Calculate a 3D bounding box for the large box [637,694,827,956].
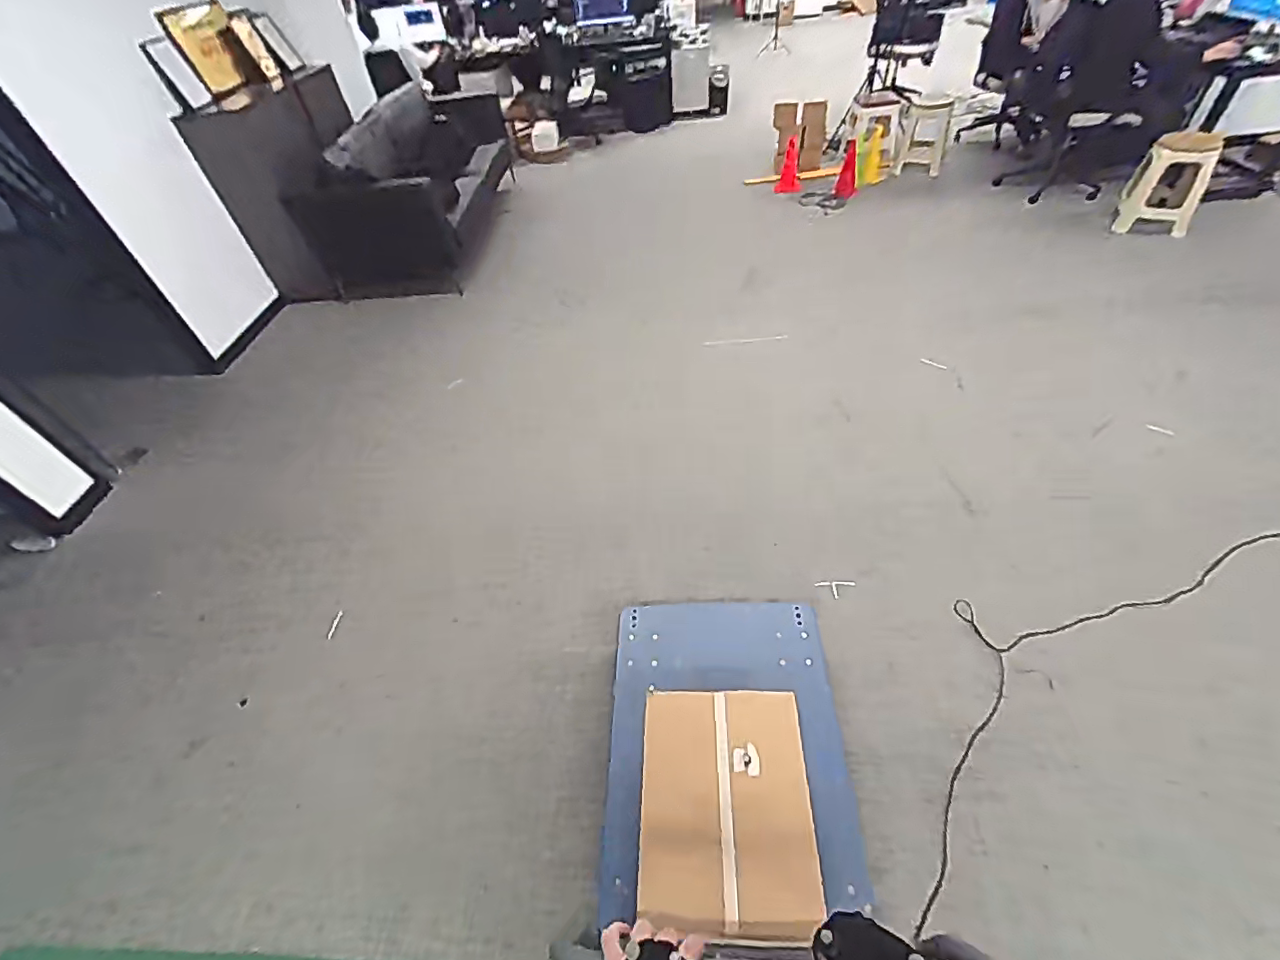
[{"bbox_3d":[0.169,0.705,1.115,0.320,0.320,0.408,-2,45,5],"label":"large box"}]
